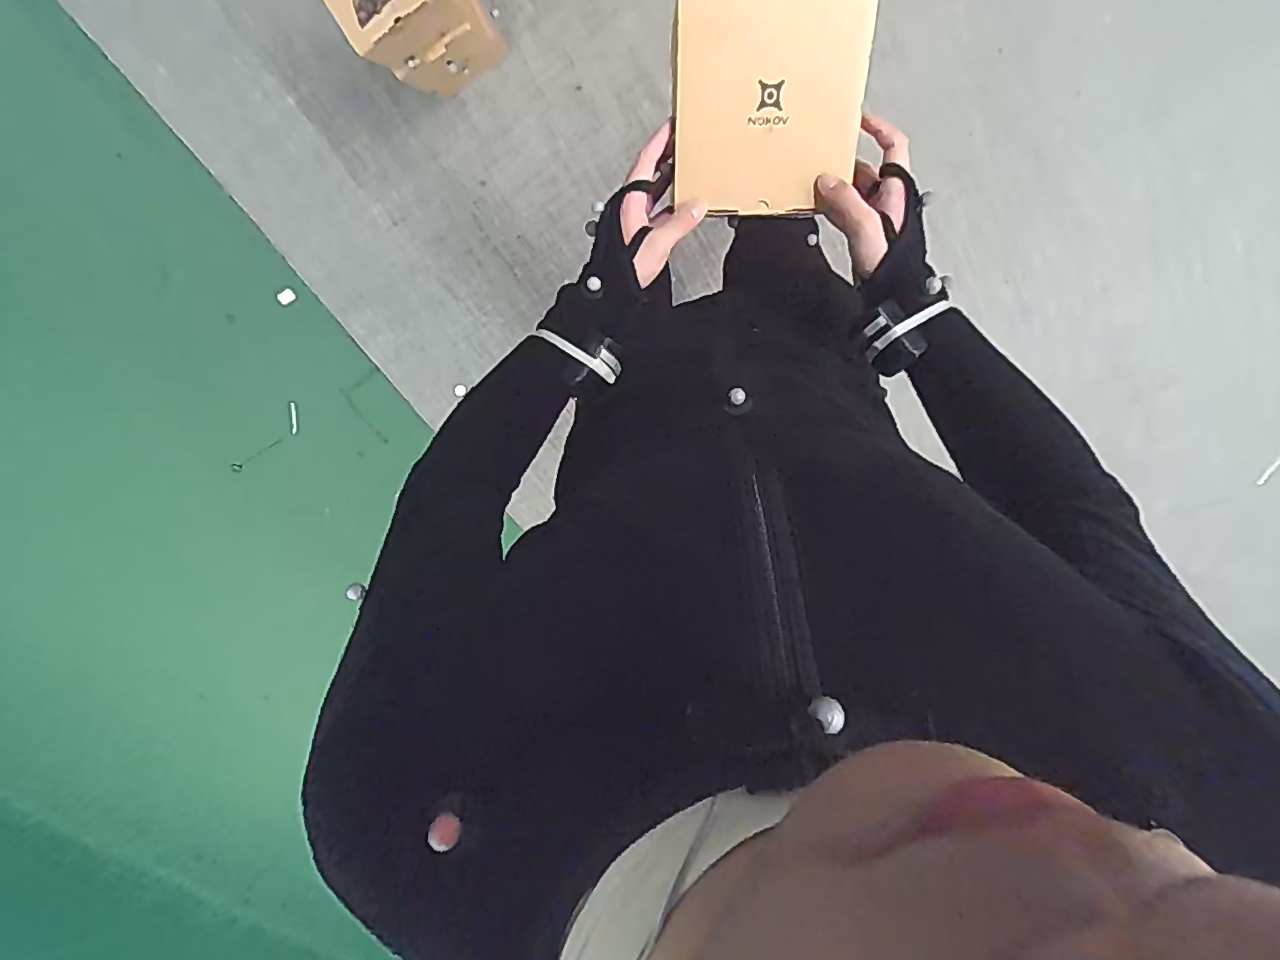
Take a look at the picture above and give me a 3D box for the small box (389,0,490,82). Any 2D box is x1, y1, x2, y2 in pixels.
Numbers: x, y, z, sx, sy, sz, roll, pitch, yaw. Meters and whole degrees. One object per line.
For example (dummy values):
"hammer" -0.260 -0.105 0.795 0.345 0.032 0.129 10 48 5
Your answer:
"small box" -0.399 -0.860 0.986 0.168 0.176 0.179 -24 119 13

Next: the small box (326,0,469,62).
"small box" -0.395 -0.788 0.837 0.168 0.176 0.179 -24 117 14

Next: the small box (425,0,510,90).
"small box" -0.396 -0.947 1.124 0.179 0.176 0.168 -23 118 13
